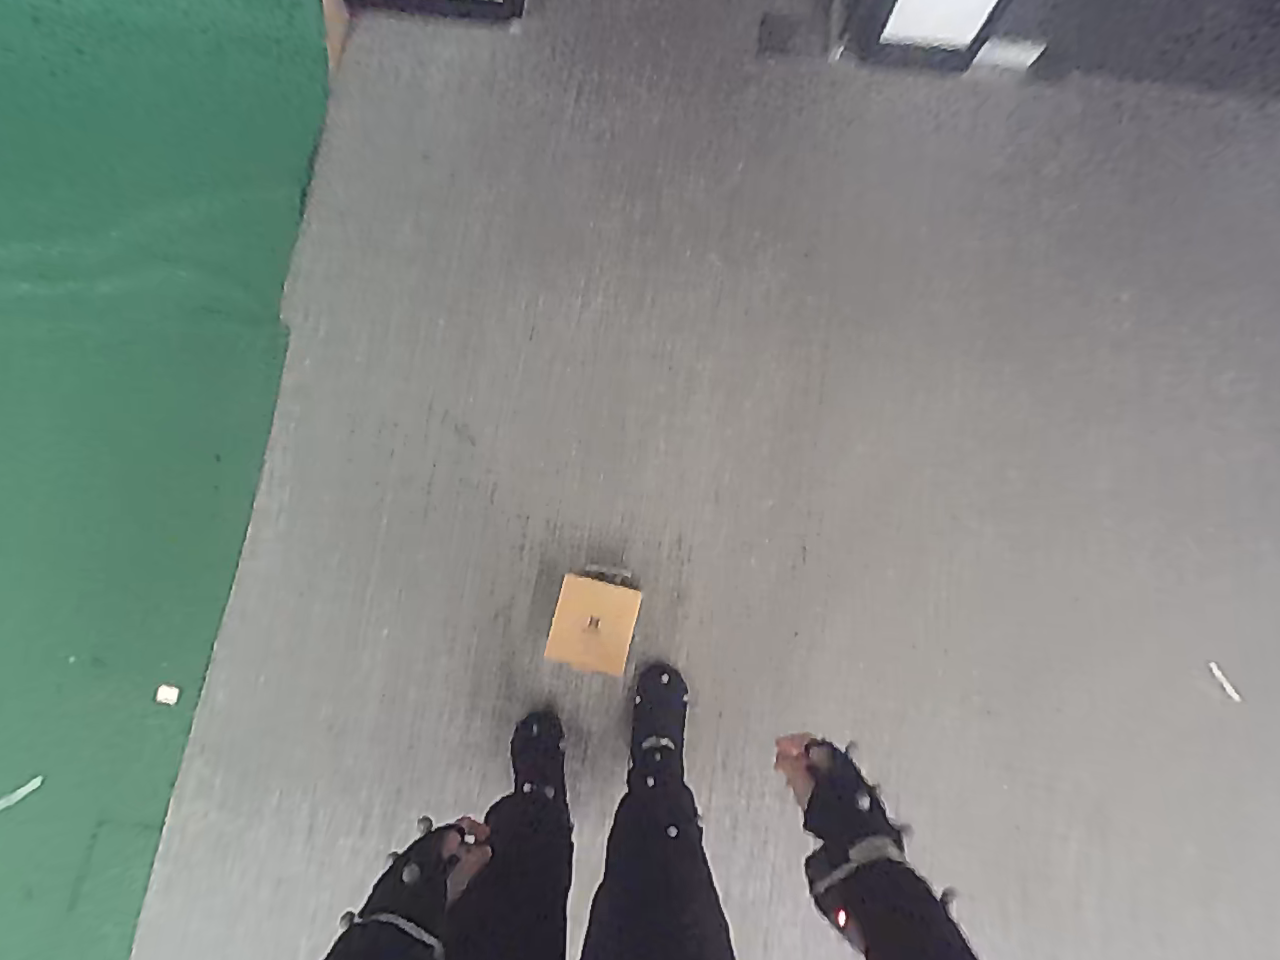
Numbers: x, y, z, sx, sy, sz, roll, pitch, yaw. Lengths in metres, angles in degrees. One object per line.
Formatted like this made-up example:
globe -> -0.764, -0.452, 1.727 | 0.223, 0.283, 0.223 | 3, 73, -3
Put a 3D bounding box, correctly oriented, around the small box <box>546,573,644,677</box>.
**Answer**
small box -> -0.093, 0.305, 1.176 | 0.168, 0.176, 0.179 | 14, 82, 2
